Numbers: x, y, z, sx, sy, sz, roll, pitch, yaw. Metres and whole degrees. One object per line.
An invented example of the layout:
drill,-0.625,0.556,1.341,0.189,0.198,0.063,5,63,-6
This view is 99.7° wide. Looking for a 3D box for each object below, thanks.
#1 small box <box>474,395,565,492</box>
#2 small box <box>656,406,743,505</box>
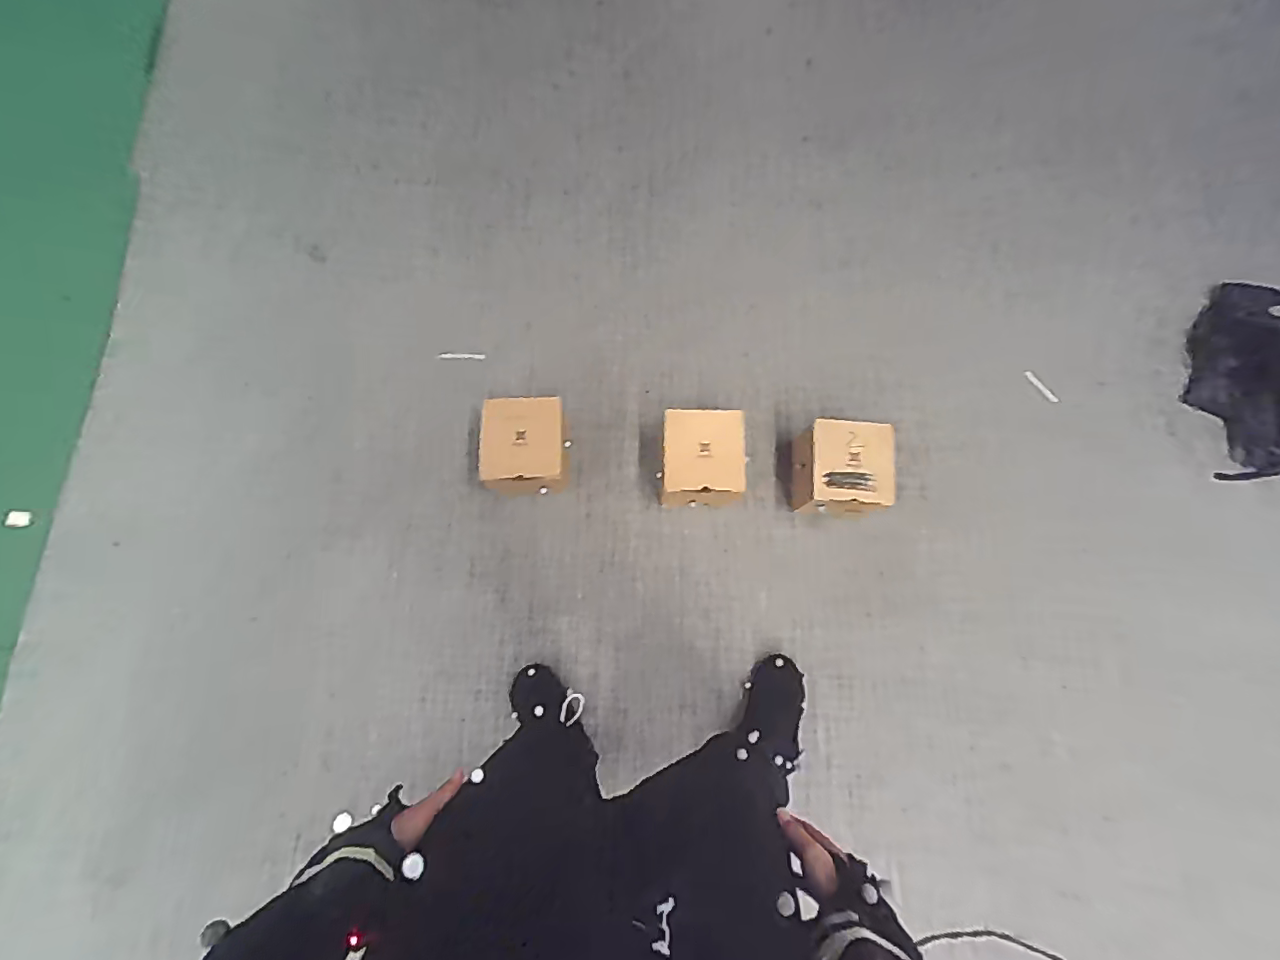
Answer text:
small box,-0.253,-0.071,1.169,0.168,0.176,0.179,-2,76,-3
small box,0.122,-0.047,1.173,0.168,0.176,0.179,1,77,-2
